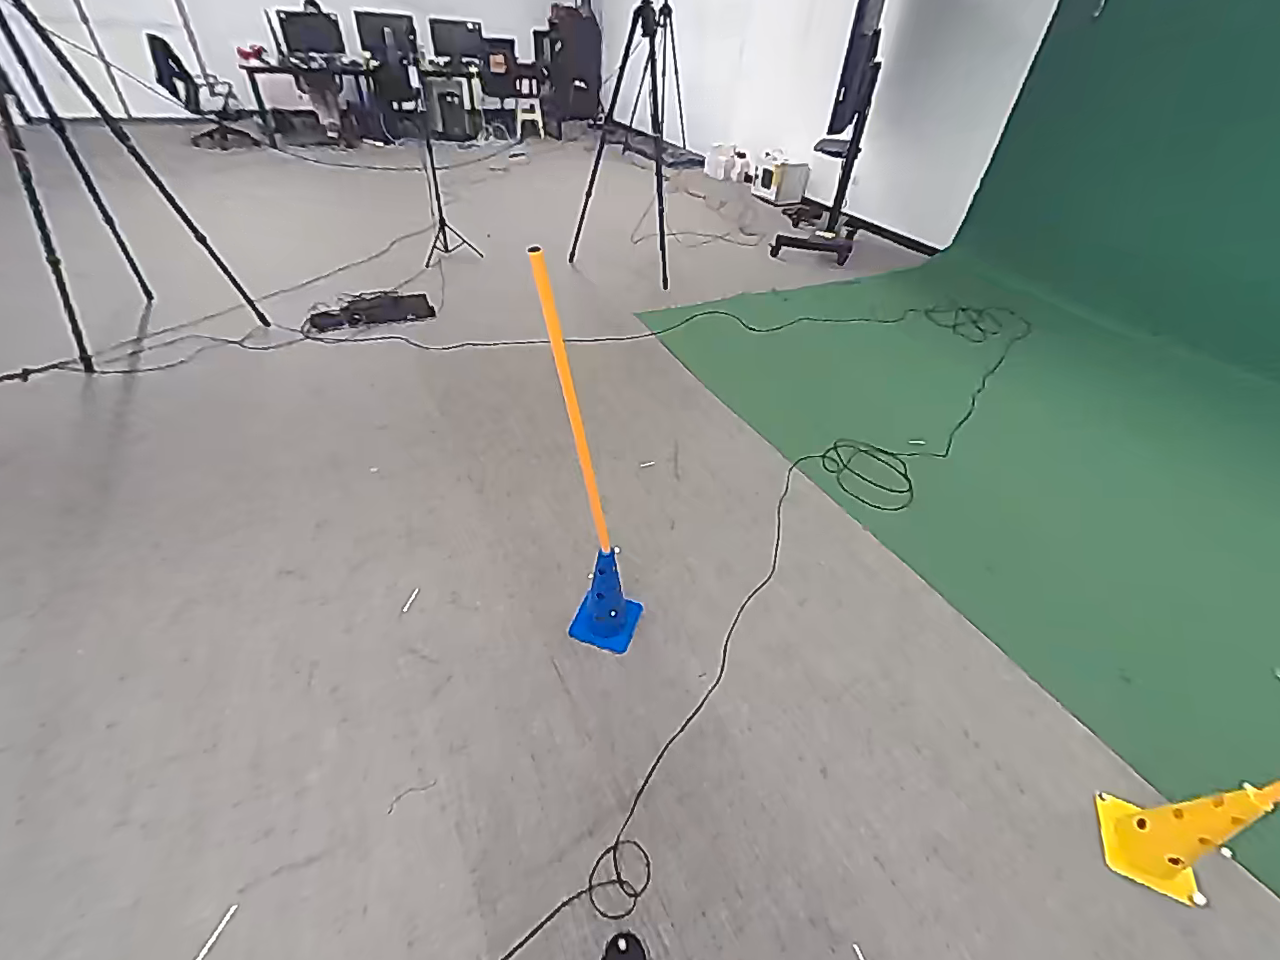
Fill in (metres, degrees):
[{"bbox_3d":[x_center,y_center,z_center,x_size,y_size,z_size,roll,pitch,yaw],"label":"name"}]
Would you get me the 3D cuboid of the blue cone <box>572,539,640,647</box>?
[{"bbox_3d":[-0.106,0.323,1.635,0.193,0.380,0.192,13,43,12],"label":"blue cone"}]
